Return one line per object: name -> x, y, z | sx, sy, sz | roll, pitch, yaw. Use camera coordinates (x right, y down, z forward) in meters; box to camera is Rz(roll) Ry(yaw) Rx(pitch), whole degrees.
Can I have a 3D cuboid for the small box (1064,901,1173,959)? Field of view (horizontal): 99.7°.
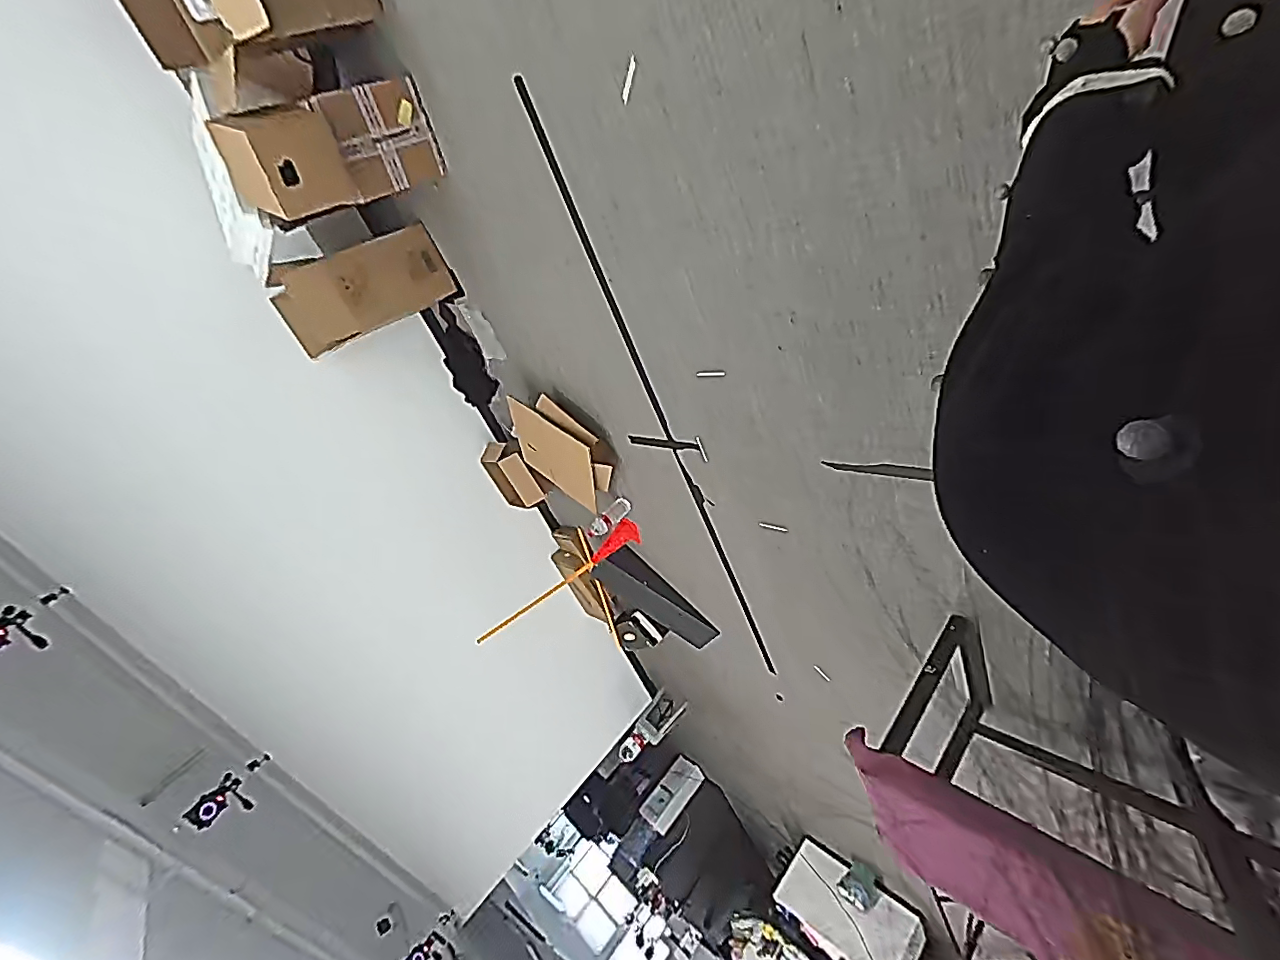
small box -> 1.120, 1.154, 1.268 | 0.168, 0.176, 0.179 | 10, 135, 50
